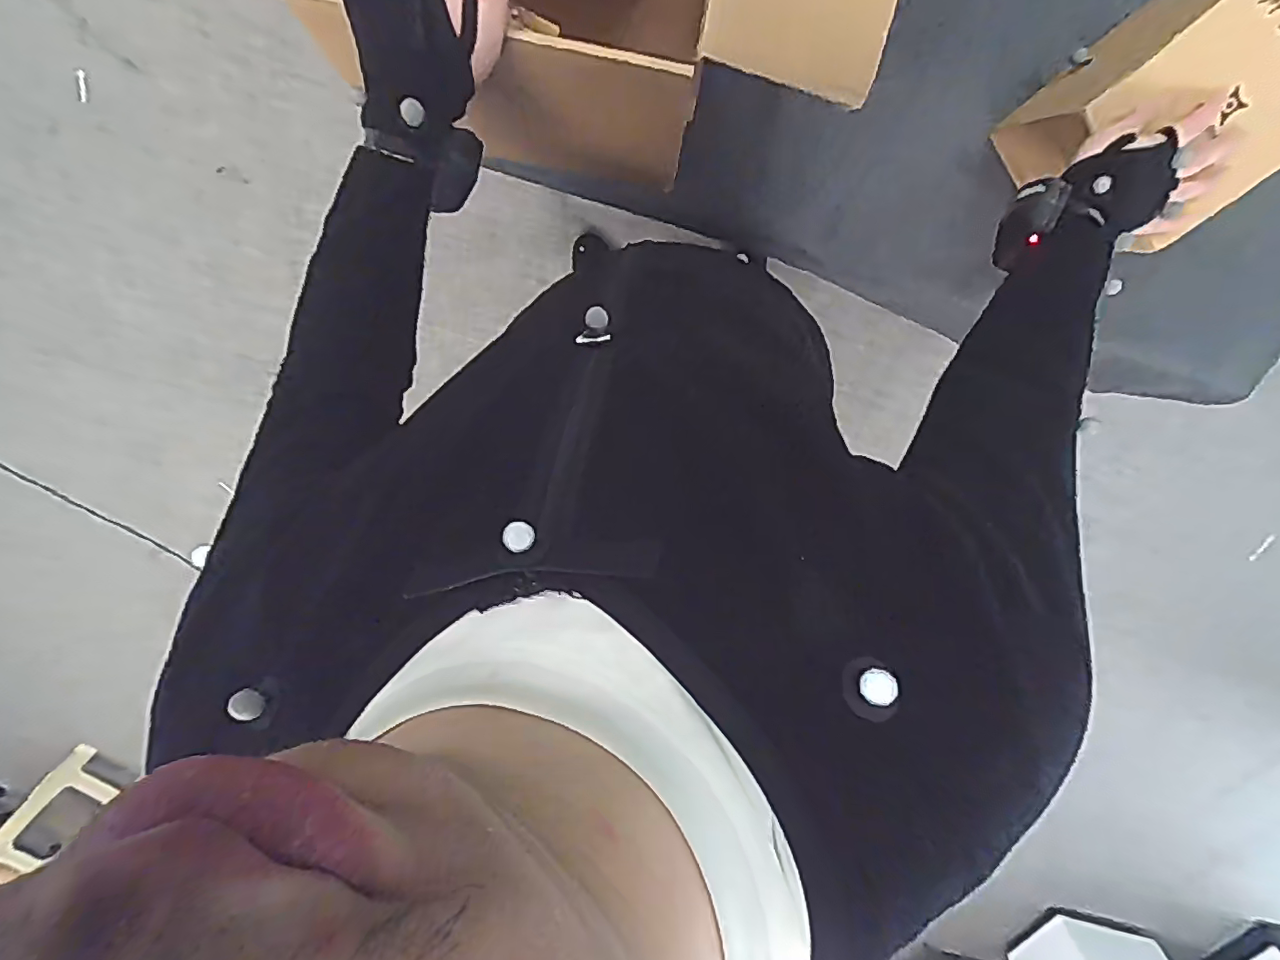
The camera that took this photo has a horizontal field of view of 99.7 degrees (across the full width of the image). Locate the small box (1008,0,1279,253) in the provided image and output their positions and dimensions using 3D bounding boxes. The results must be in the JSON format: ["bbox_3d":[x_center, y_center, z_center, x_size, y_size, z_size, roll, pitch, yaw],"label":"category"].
[{"bbox_3d":[0.530,-0.367,0.566,0.179,0.176,0.168,-37,108,20],"label":"small box"}]
